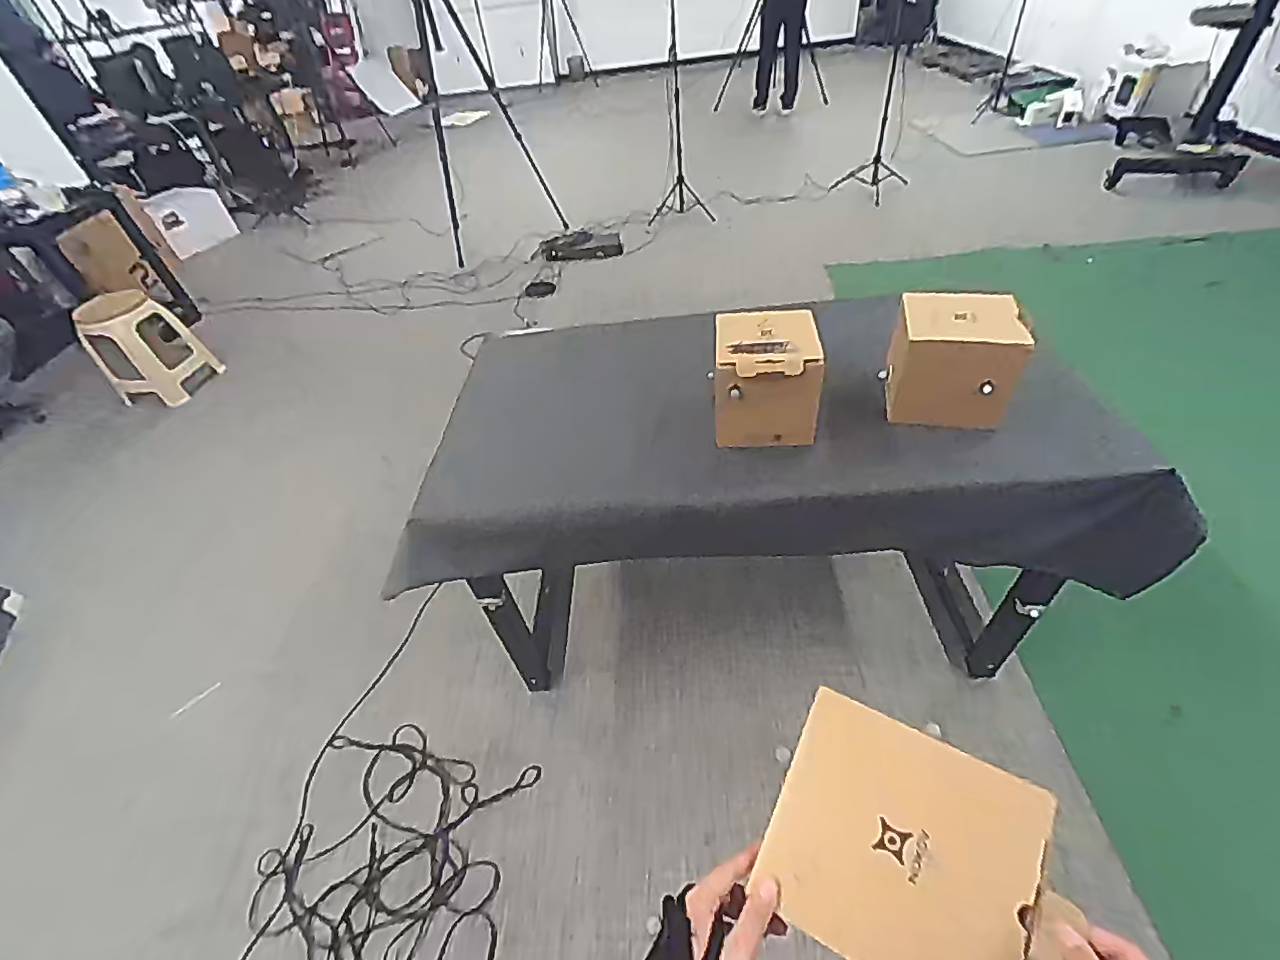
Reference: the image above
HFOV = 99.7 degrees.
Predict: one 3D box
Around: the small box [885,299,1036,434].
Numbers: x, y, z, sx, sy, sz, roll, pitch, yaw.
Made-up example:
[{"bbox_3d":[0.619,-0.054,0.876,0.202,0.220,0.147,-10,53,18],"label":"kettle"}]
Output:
[{"bbox_3d":[0.538,-0.195,0.936,0.179,0.176,0.168,6,44,15],"label":"small box"}]
